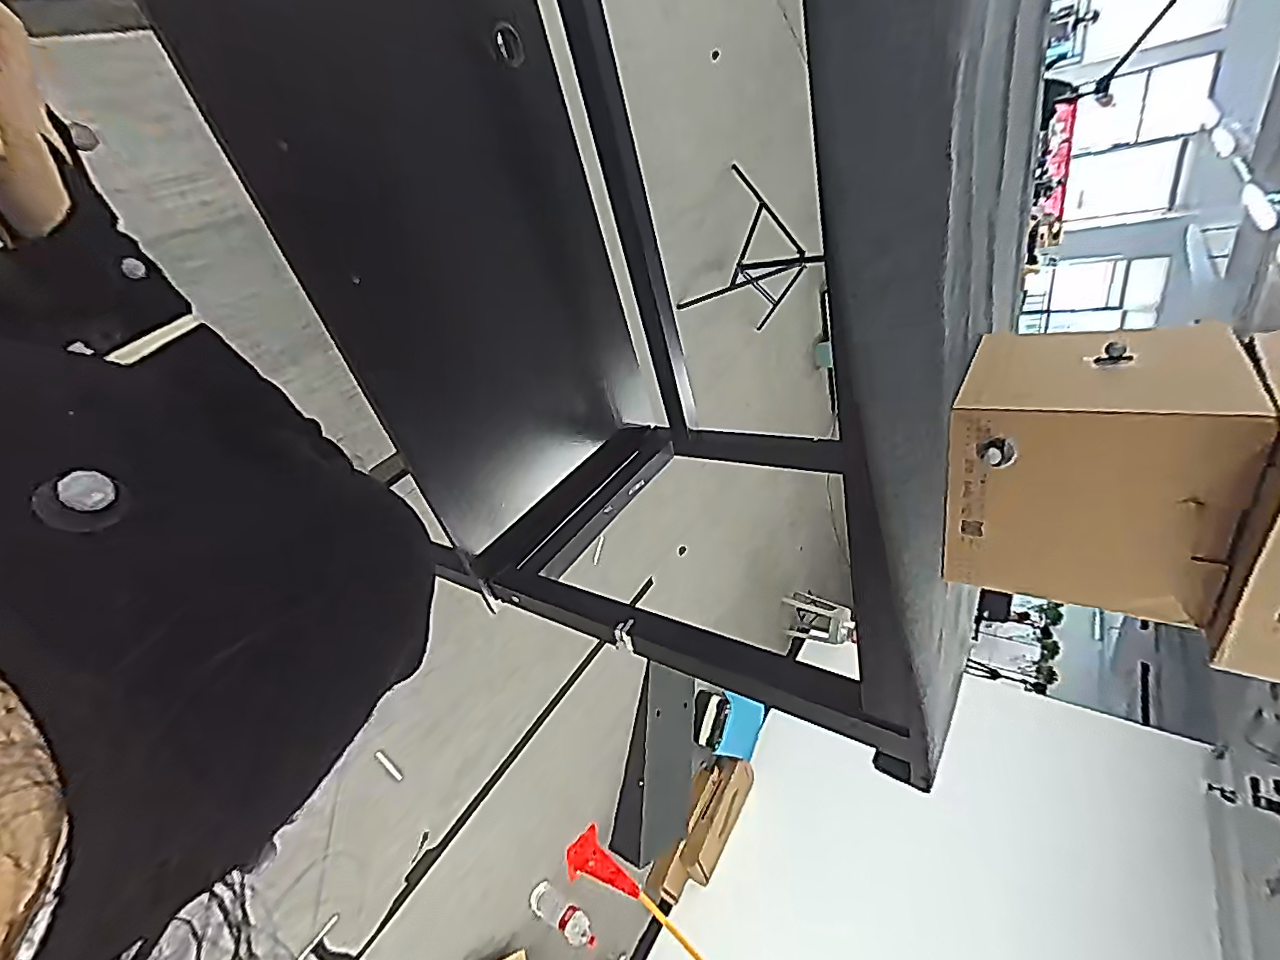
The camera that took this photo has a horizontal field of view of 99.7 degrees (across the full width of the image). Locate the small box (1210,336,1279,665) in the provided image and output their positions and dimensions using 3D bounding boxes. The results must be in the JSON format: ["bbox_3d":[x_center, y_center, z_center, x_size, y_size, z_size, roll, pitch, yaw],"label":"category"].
[{"bbox_3d":[0.477,0.018,0.331,0.179,0.176,0.168,-49,134,-38],"label":"small box"}]

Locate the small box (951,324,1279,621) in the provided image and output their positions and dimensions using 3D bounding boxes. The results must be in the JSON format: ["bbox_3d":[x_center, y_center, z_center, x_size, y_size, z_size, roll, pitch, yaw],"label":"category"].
[{"bbox_3d":[0.365,-0.018,0.446,0.179,0.176,0.168,-43,129,-42],"label":"small box"}]
